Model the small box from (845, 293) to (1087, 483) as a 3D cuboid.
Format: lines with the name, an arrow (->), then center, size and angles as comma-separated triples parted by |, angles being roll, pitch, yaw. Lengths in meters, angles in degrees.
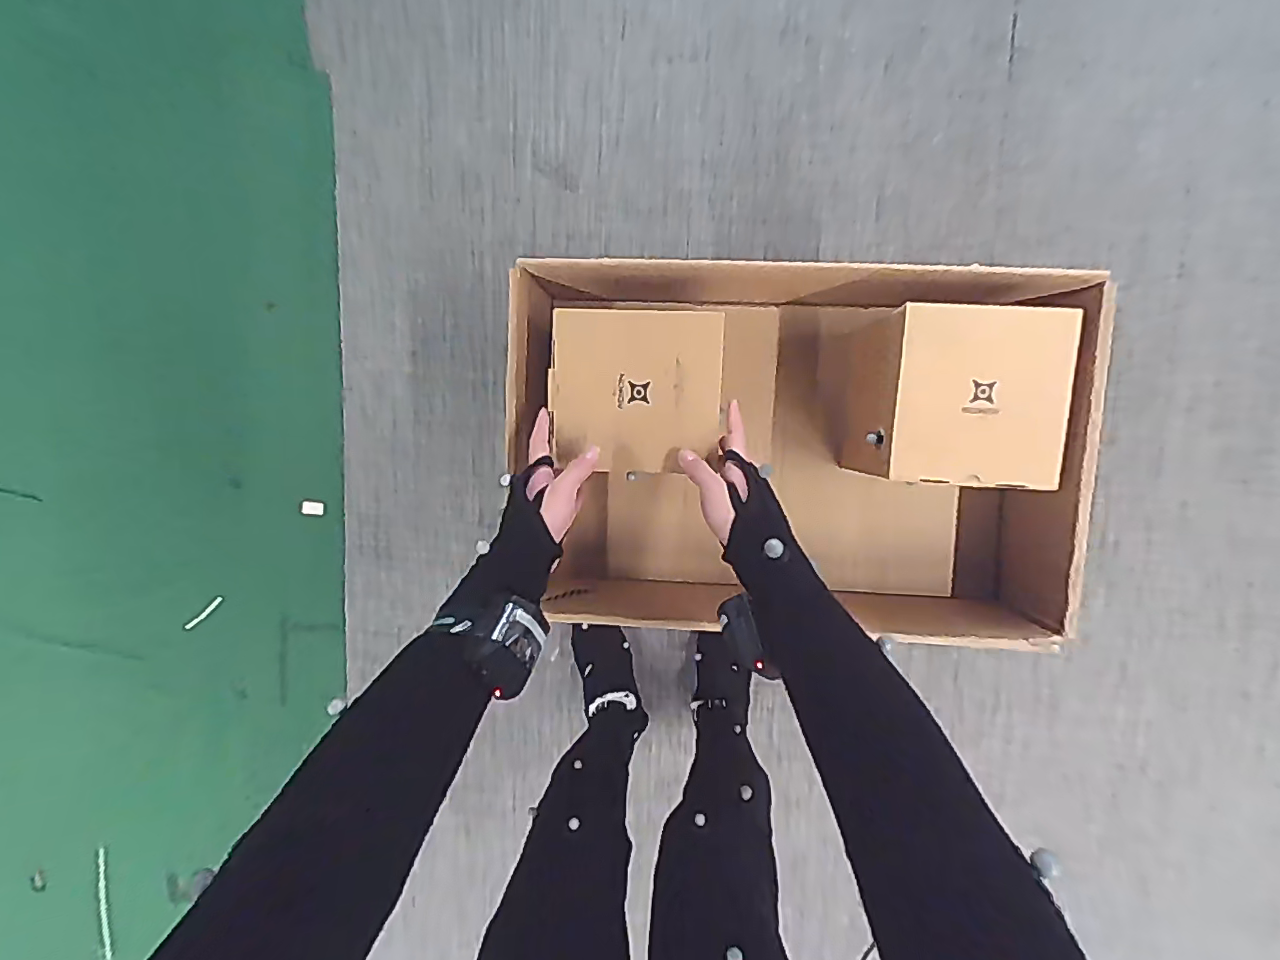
small box -> 0.341, -0.097, 0.602 | 0.168, 0.176, 0.179 | 3, 97, 4

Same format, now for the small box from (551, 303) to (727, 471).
small box -> 0.004, -0.102, 0.629 | 0.179, 0.176, 0.168 | 3, 97, 4
